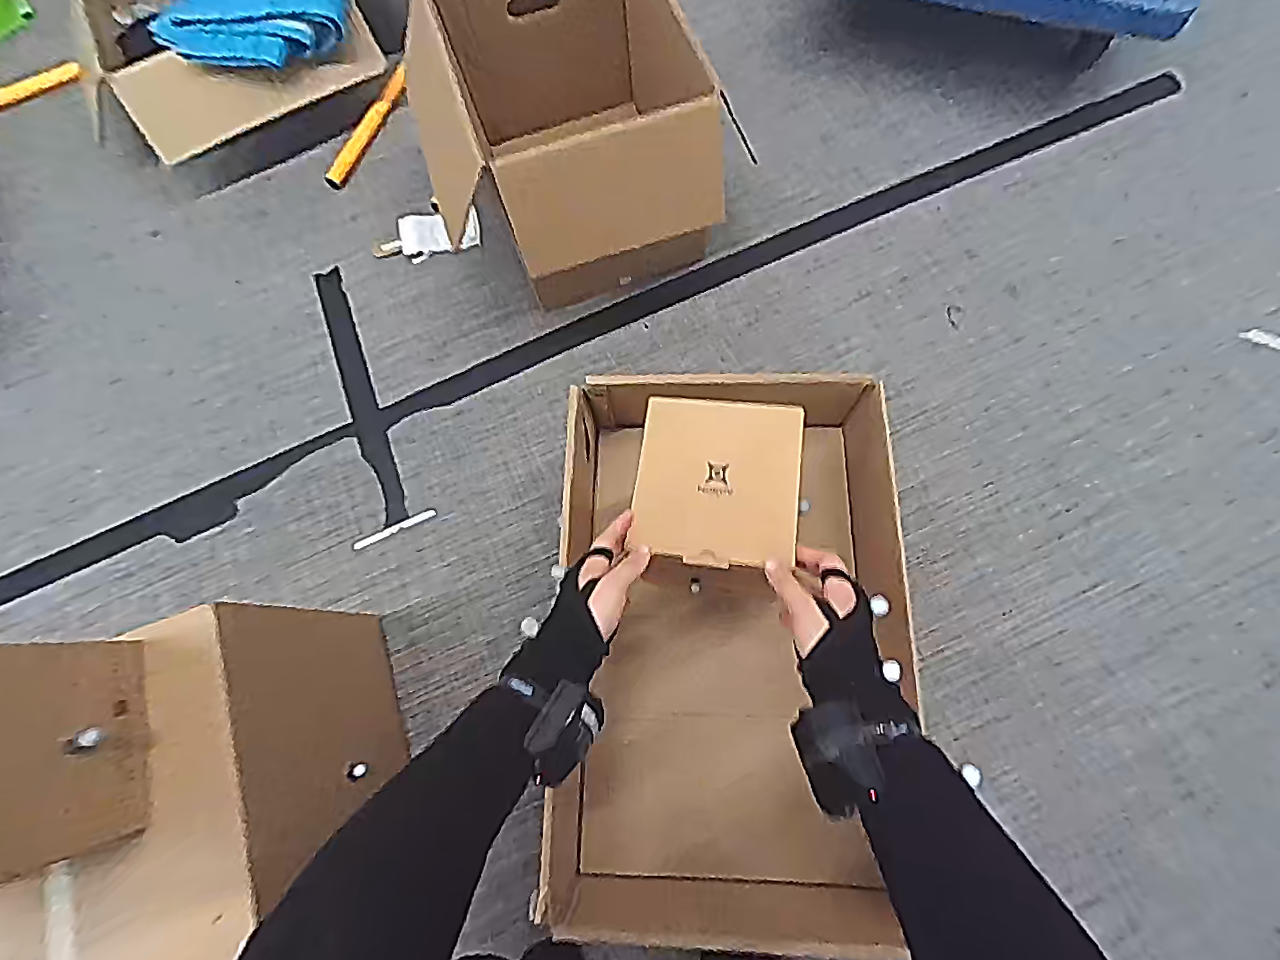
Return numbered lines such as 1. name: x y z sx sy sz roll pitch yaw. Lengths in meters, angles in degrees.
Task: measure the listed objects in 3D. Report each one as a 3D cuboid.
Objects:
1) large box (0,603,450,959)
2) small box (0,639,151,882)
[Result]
1. large box: -0.467 0.390 0.611 0.320 0.320 0.408 -22 74 -1
2. small box: -0.530 0.227 0.406 0.179 0.176 0.168 -19 75 -2
